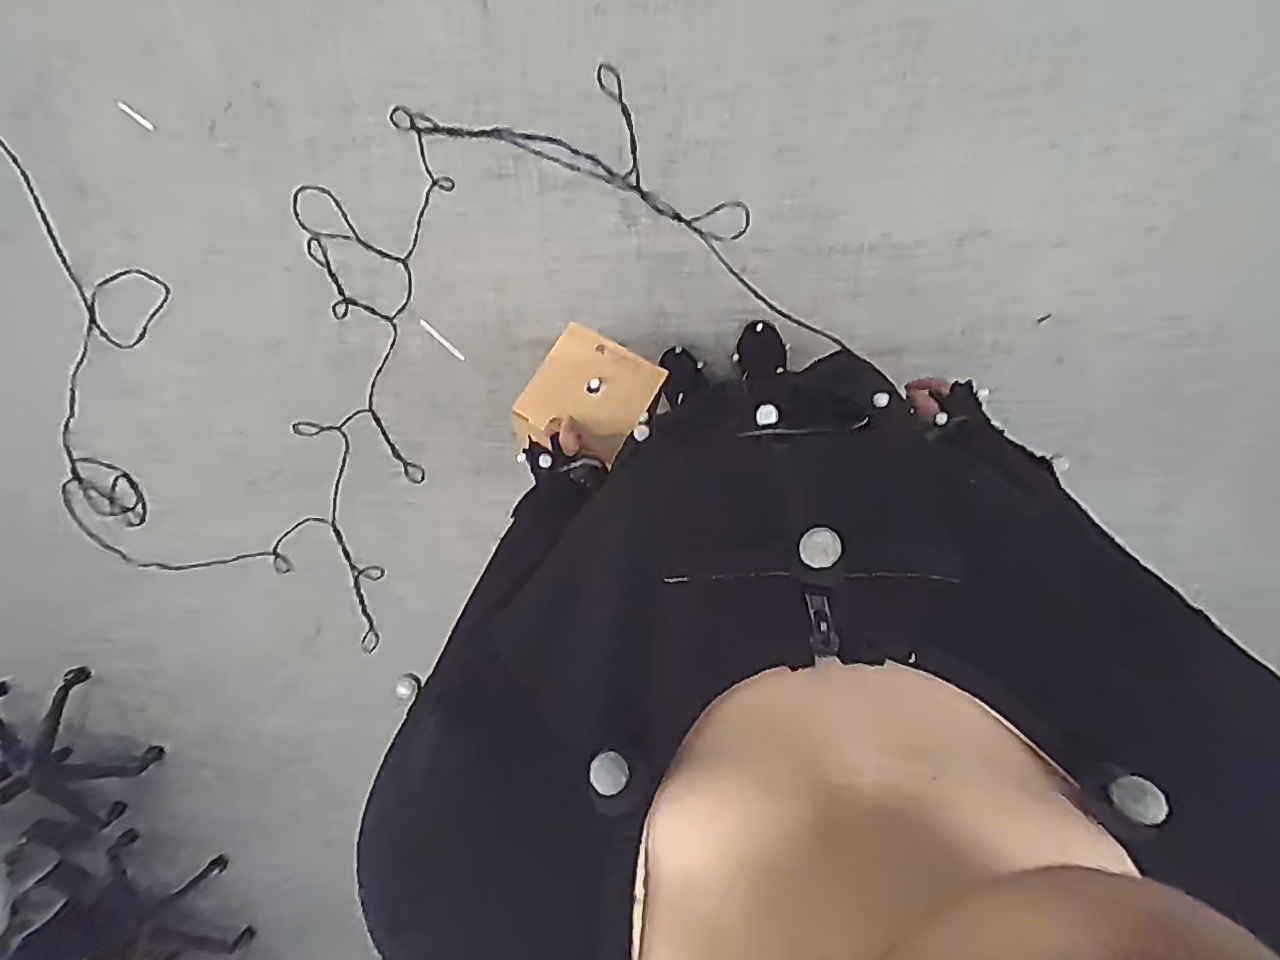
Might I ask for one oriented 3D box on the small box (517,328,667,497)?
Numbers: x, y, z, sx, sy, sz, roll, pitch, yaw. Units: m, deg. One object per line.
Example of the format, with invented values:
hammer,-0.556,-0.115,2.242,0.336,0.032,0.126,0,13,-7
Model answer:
small box,-0.071,-0.103,0.844,0.168,0.179,0.176,28,72,3
